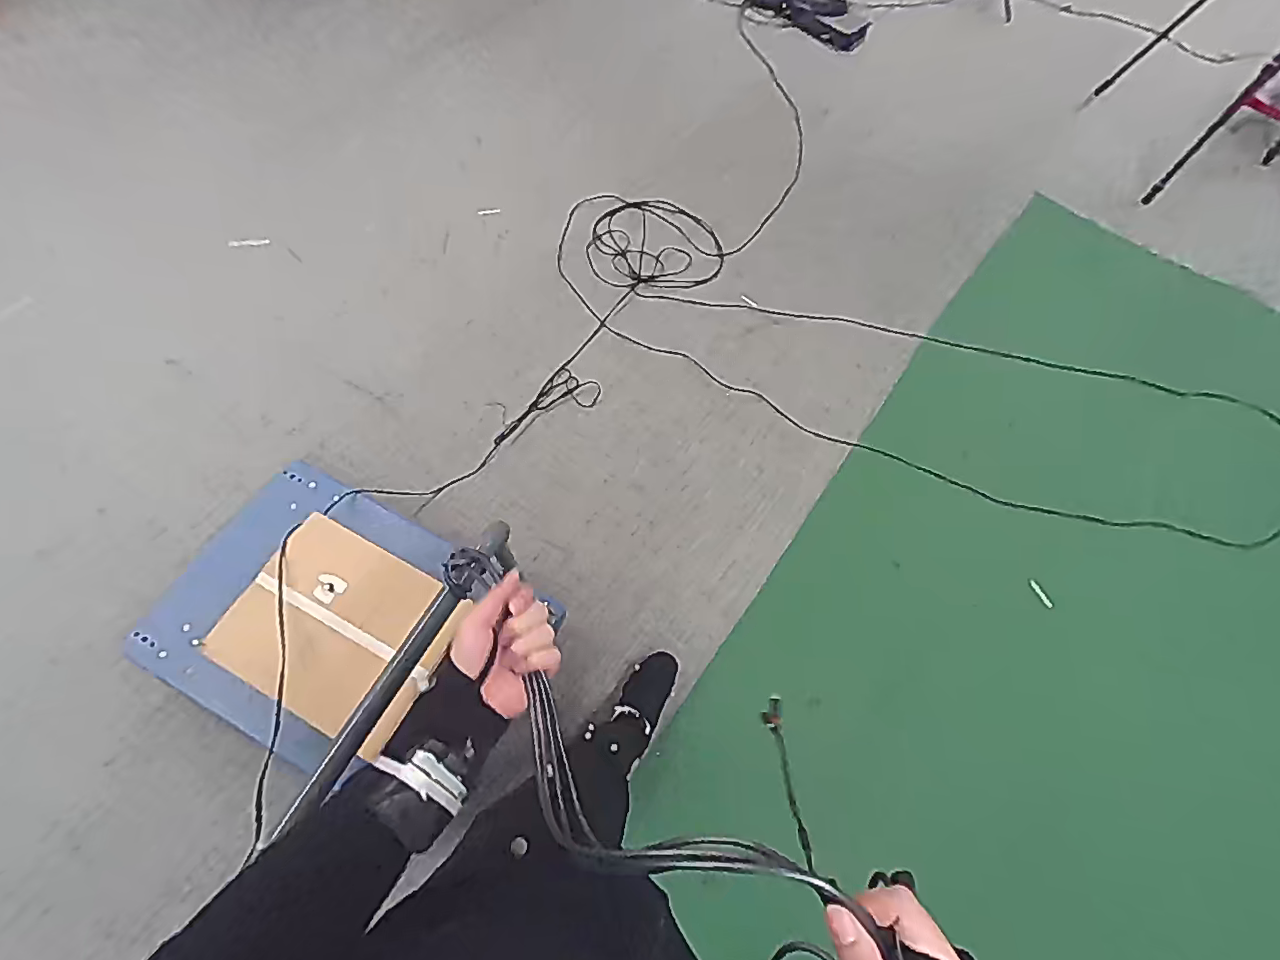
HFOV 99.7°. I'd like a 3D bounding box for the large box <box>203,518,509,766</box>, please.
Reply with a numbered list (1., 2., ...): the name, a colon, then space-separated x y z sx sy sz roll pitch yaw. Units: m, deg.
1. large box: -0.546 0.341 1.132 0.408 0.320 0.320 26 66 9
